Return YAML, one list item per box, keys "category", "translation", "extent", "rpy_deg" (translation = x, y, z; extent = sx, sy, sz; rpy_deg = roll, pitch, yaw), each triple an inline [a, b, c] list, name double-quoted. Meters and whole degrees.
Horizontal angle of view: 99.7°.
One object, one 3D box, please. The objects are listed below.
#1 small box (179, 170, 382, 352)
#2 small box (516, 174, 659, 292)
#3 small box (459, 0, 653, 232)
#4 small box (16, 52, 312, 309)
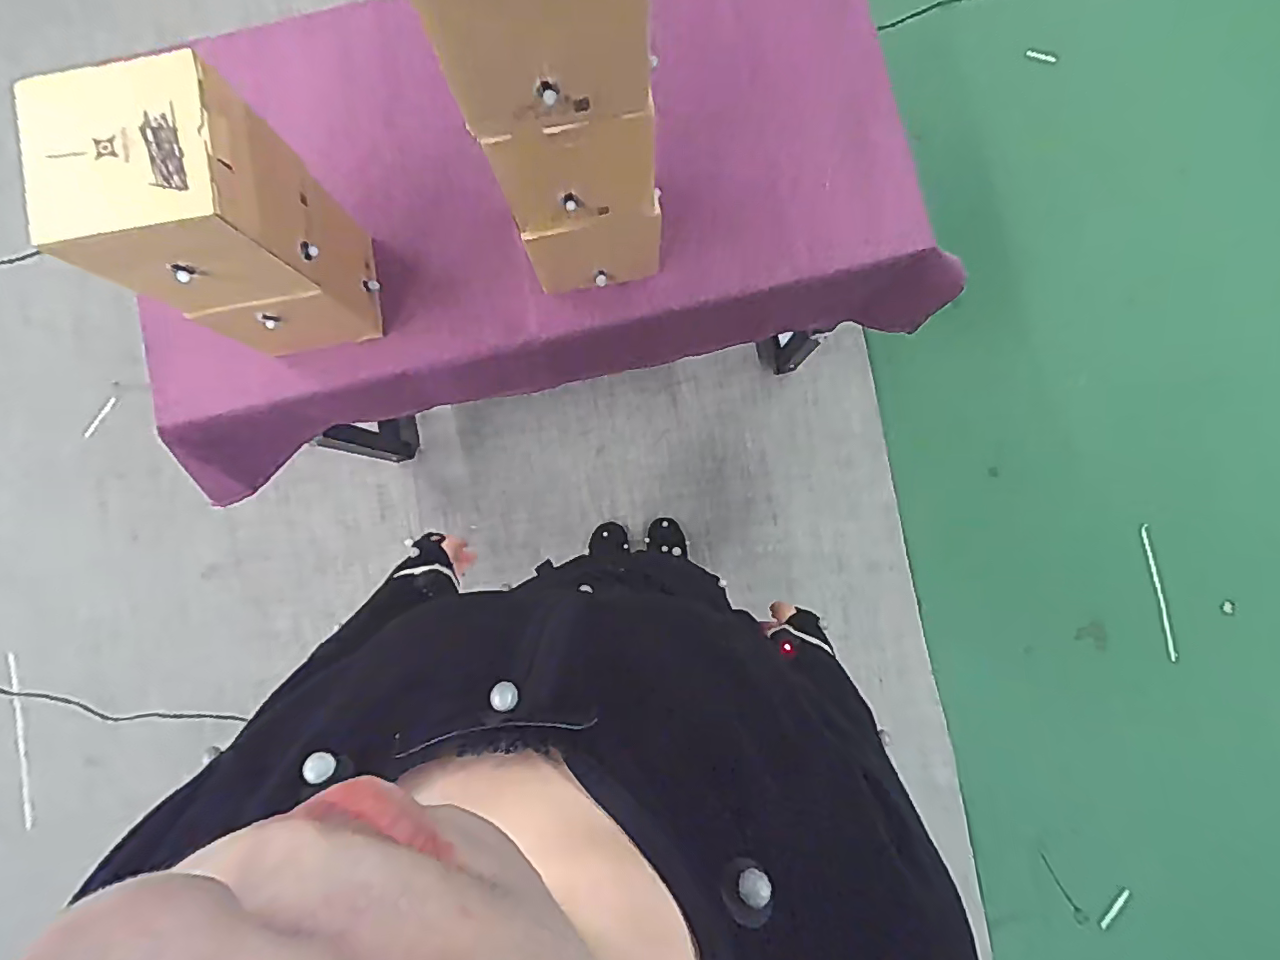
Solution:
- category: "small box"
  translation: [-0.487, -0.287, 0.745]
  extent: [0.179, 0.176, 0.168]
  rpy_deg: [-9, 86, -1]
- category: "small box"
  translation: [-0.076, -0.382, 0.748]
  extent: [0.179, 0.176, 0.168]
  rpy_deg: [-11, 85, -1]
- category: "small box"
  translation: [-0.082, -0.404, 0.586]
  extent: [0.168, 0.176, 0.179]
  rpy_deg: [-10, 87, 0]
- category: "small box"
  translation: [-0.484, -0.302, 0.581]
  extent: [0.179, 0.176, 0.168]
  rpy_deg: [-10, 86, 0]
